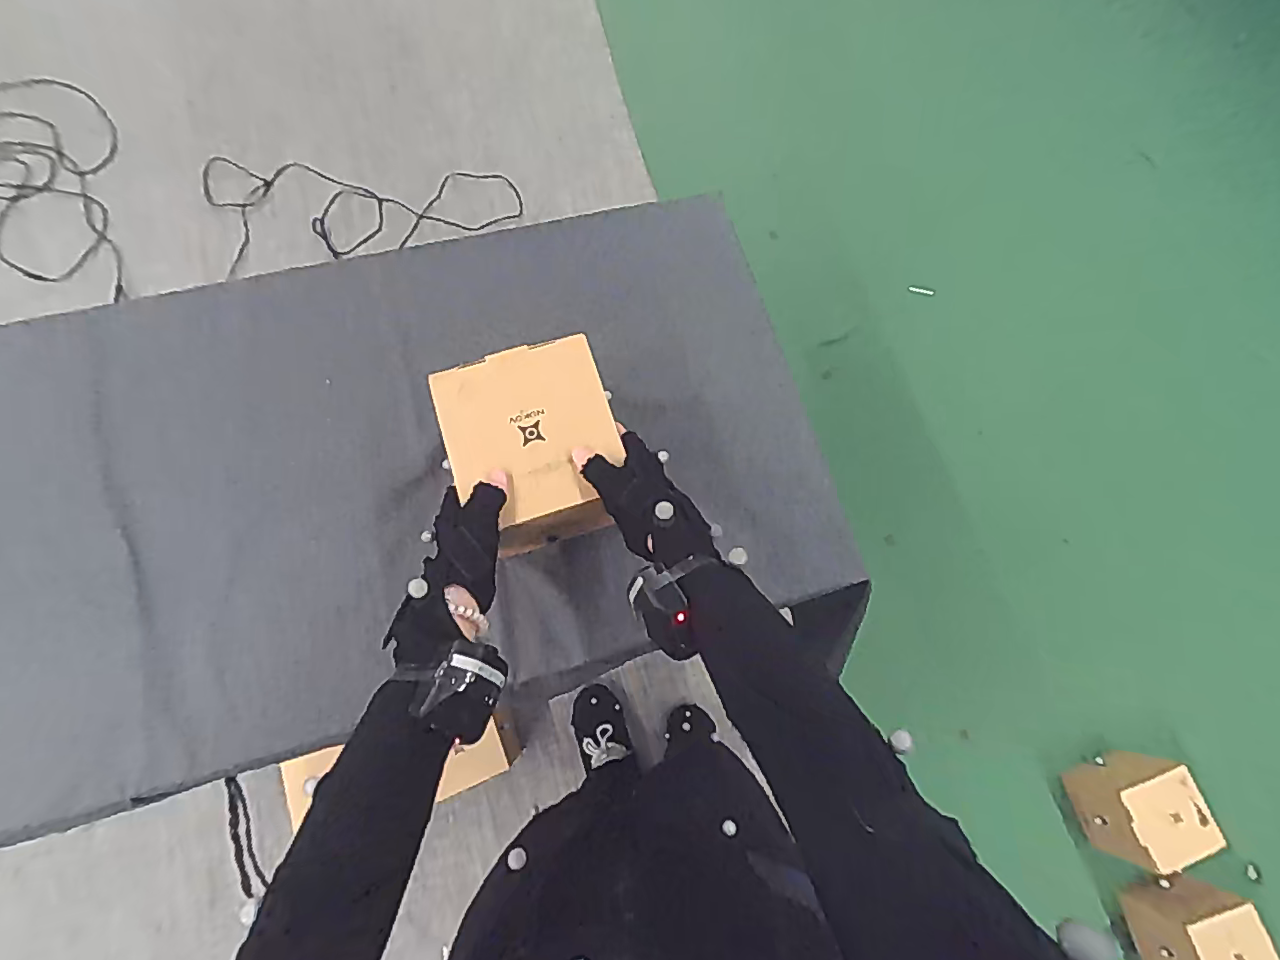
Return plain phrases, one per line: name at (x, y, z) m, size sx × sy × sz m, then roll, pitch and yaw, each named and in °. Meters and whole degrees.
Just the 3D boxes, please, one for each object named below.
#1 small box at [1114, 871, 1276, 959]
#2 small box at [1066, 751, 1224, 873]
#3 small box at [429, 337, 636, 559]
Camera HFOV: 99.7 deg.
small box at (1.188, 0.987, 1.157) m, size 0.168 × 0.176 × 0.179 m, roll -12°, pitch 76°, yaw -7°
small box at (1.118, 0.738, 1.221) m, size 0.179 × 0.176 × 0.168 m, roll -16°, pitch 76°, yaw -6°
small box at (-0.111, -0.025, 0.599) m, size 0.168 × 0.176 × 0.179 m, roll -17°, pitch 77°, yaw -7°
